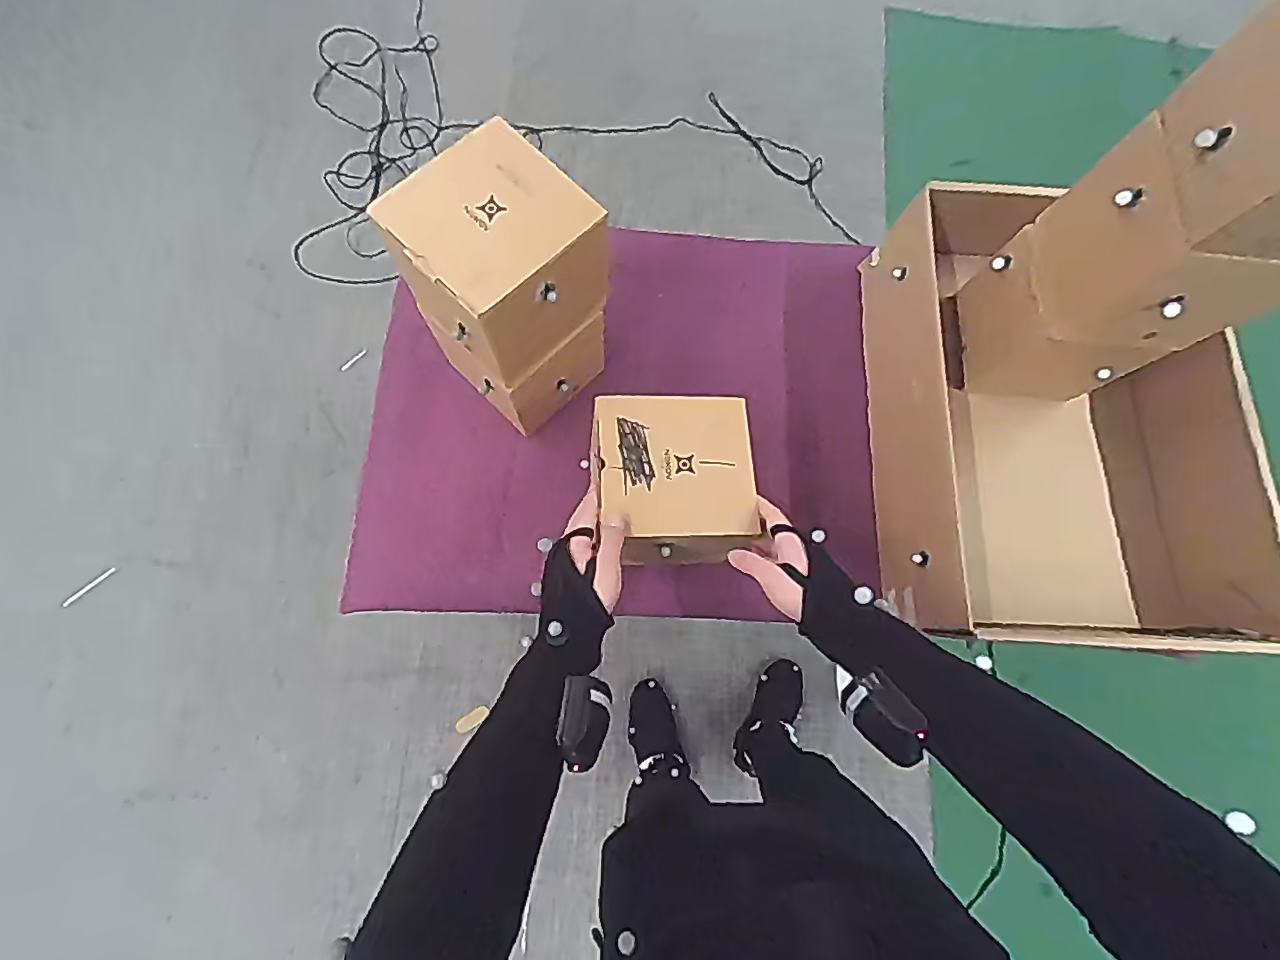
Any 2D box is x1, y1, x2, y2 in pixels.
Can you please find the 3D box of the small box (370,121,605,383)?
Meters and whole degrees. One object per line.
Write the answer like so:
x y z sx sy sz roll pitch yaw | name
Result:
-0.153 -0.242 0.611 0.168 0.176 0.179 45 77 7 | small box

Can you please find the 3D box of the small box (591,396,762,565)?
0.030 0.010 0.664 0.179 0.176 0.168 0 71 -10 | small box

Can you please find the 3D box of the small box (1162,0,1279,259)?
0.598 -0.303 0.449 0.168 0.176 0.179 5 76 -1 | small box

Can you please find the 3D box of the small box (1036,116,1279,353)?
0.589 -0.261 0.608 0.168 0.176 0.179 5 75 -1 | small box

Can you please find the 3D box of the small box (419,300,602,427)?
-0.169 -0.196 0.767 0.179 0.176 0.168 44 76 8 | small box
